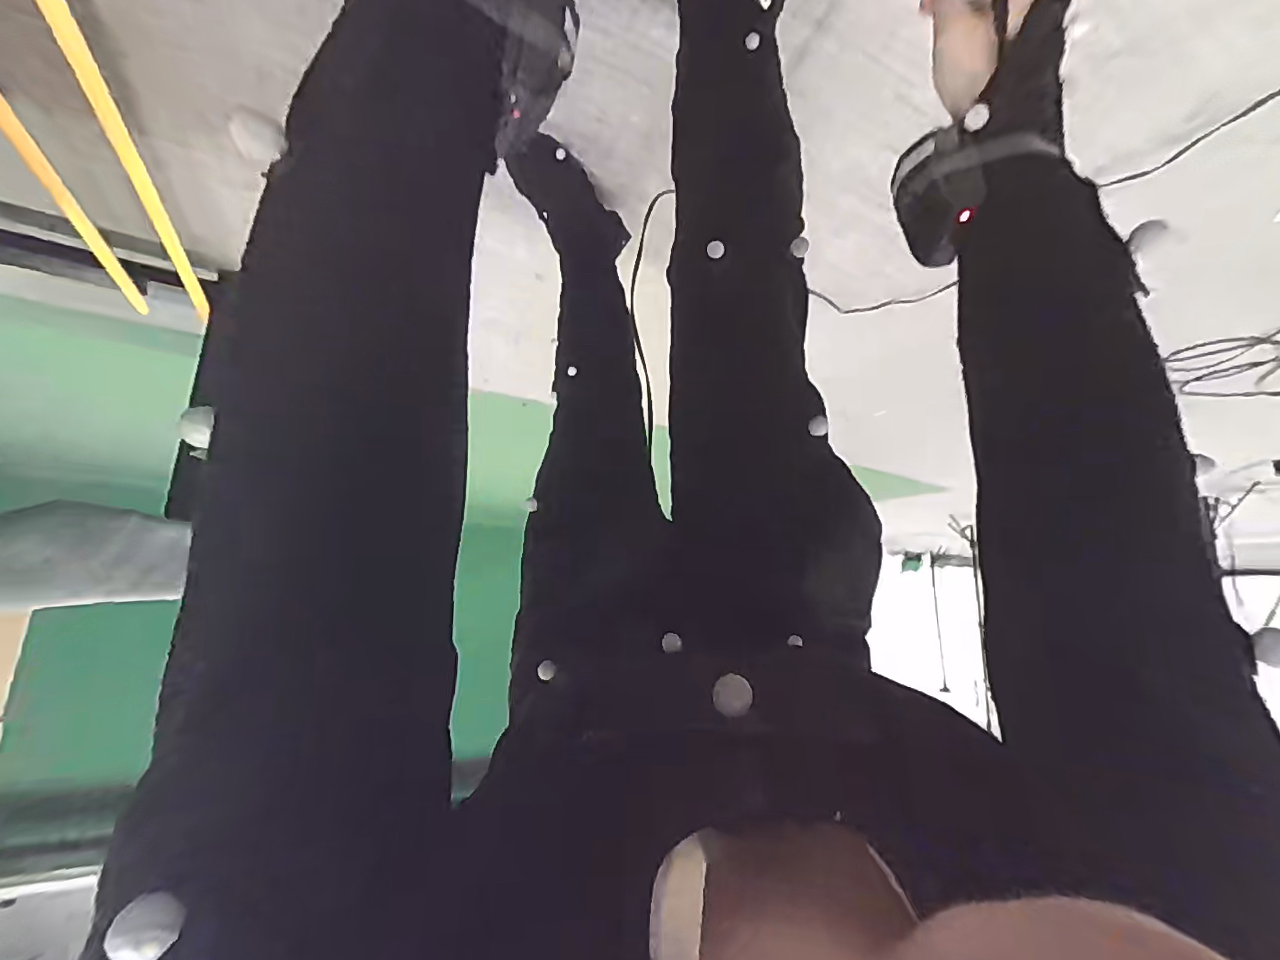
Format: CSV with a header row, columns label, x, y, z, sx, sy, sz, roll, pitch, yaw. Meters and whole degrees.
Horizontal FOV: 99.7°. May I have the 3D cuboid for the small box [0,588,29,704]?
label,x,y,z,sx,sy,sz,roll,pitch,yaw
small box,-0.894,0.211,0.632,0.168,0.176,0.179,9,167,-22
